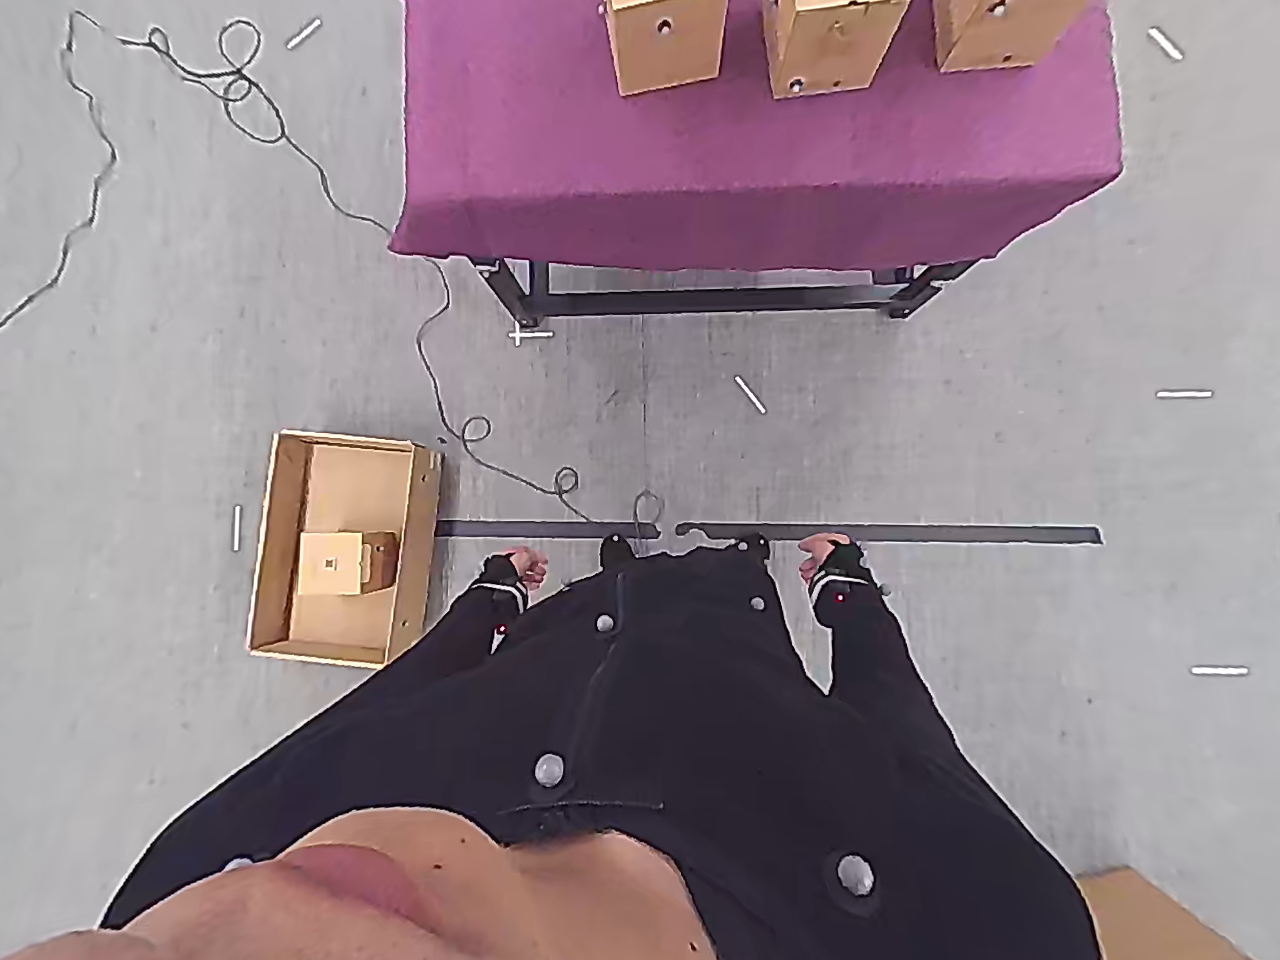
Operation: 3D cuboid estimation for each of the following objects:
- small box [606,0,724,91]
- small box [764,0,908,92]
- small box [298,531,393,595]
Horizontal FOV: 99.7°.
[{"bbox_3d":[0.034,-0.768,0.865,0.179,0.176,0.168,-10,87,1],"label":"small box"},{"bbox_3d":[0.300,-0.754,0.856,0.168,0.176,0.179,-6,86,1],"label":"small box"},{"bbox_3d":[-0.817,0.227,1.515,0.179,0.176,0.168,0,85,2],"label":"small box"}]
